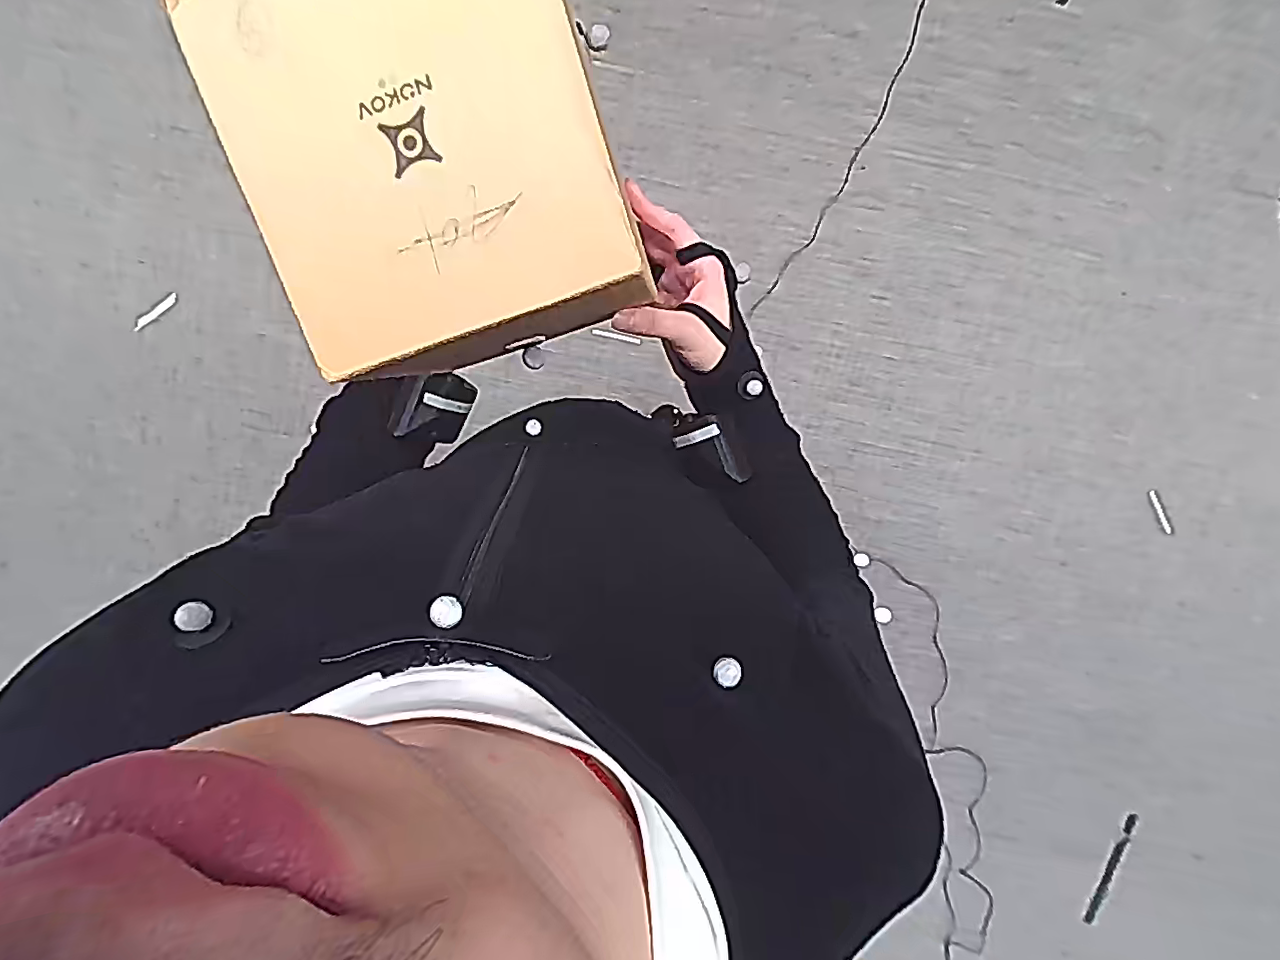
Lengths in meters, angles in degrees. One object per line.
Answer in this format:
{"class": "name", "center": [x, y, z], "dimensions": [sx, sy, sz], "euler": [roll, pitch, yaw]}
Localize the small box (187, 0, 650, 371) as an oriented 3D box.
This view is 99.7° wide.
{"class": "small box", "center": [-0.097, -0.173, 0.326], "dimensions": [0.168, 0.176, 0.179], "euler": [-16, 102, 8]}
